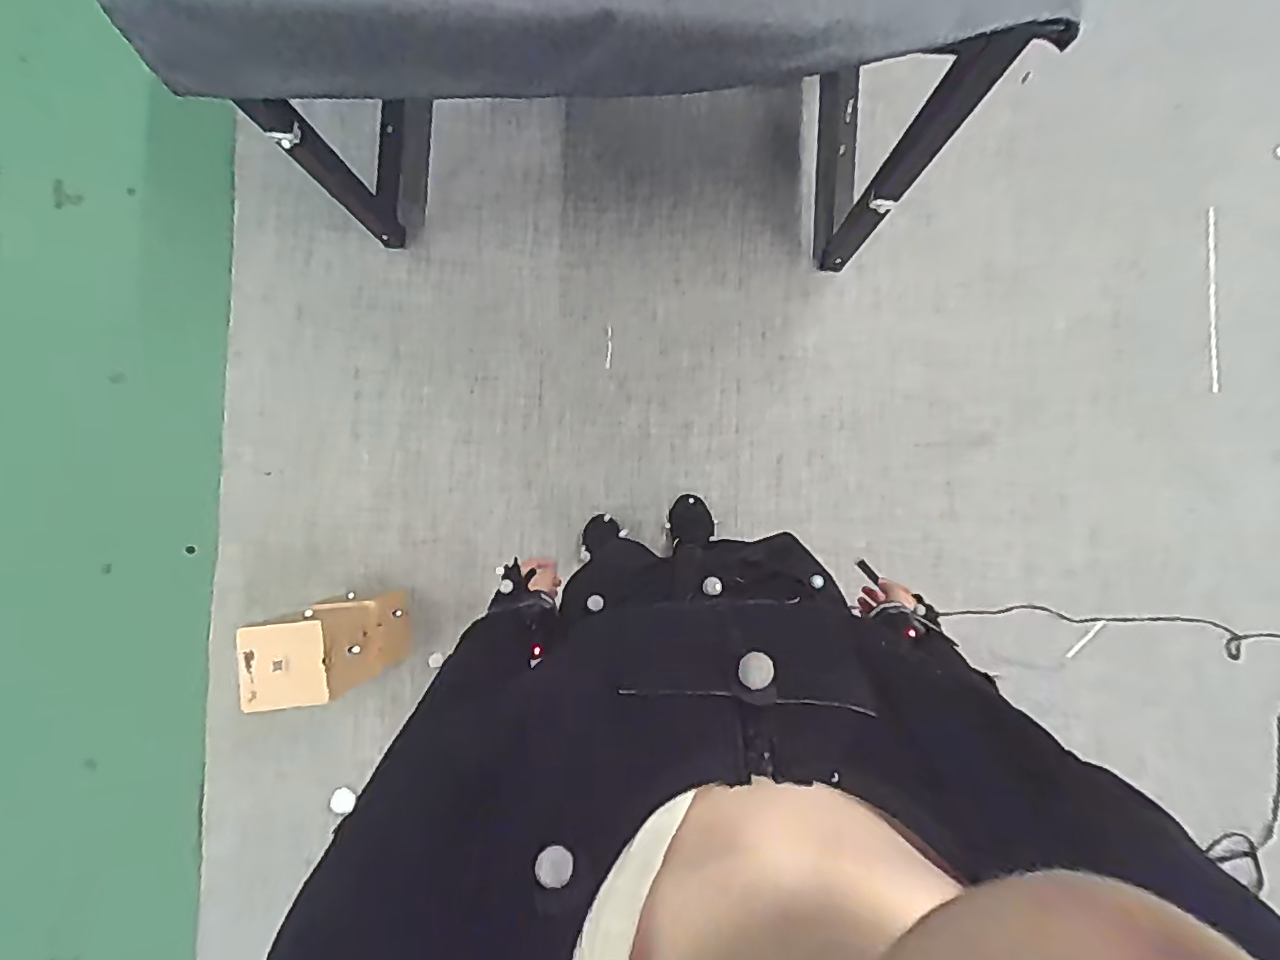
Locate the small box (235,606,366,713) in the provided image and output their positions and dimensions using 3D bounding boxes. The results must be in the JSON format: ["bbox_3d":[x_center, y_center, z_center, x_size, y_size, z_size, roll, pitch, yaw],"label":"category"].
[{"bbox_3d":[-0.692,0.364,1.124,0.179,0.176,0.168,-6,86,0],"label":"small box"}]

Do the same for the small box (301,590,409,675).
[{"bbox_3d":[-0.668,0.360,1.288,0.179,0.176,0.168,-5,86,2],"label":"small box"}]
